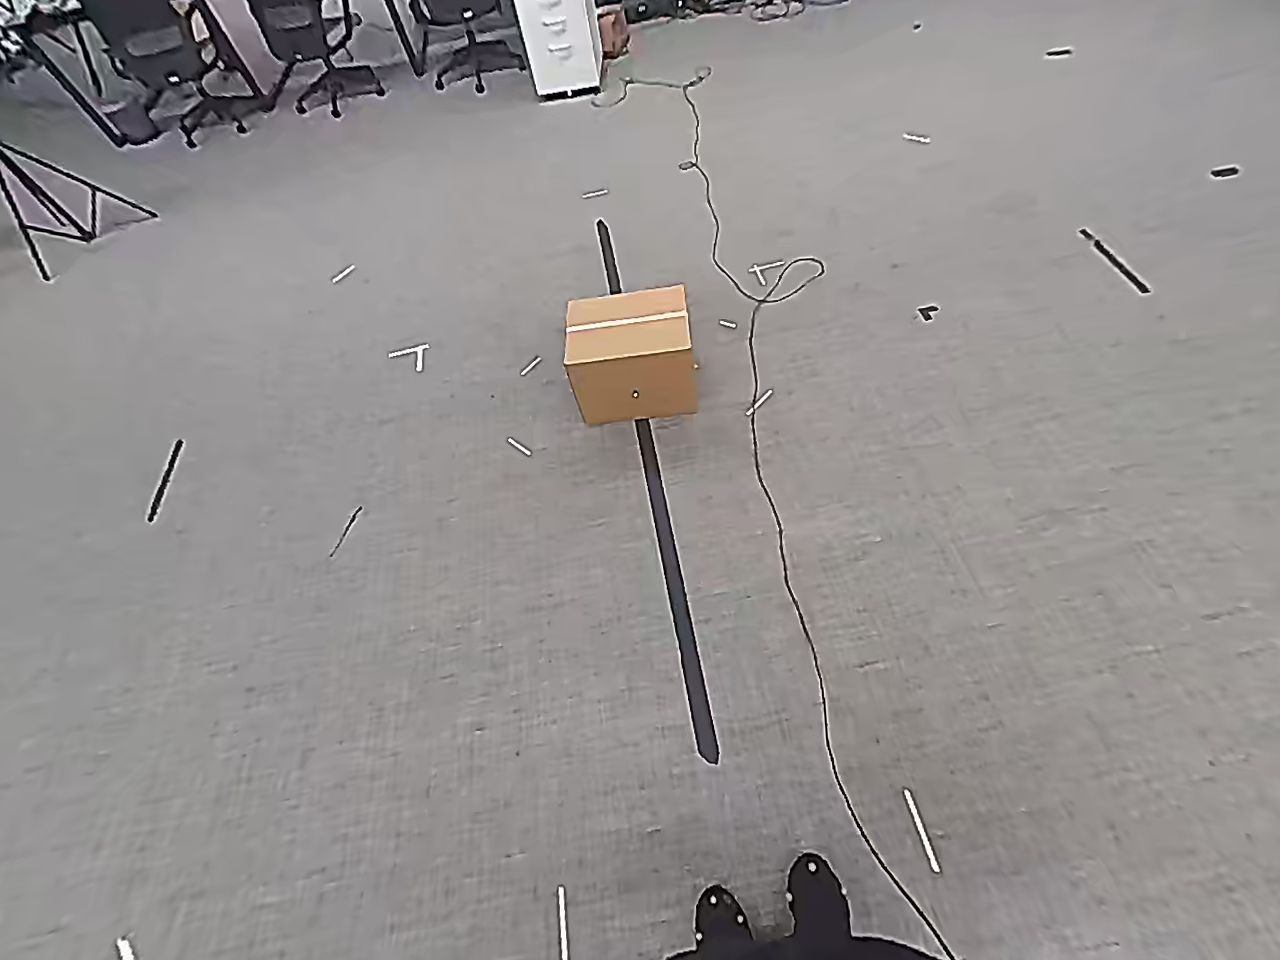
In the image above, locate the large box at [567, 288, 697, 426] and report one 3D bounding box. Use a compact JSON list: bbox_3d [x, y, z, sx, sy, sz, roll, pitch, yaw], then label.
[{"bbox_3d":[-0.023,-0.419,1.879,0.408,0.320,0.320,-6,57,5],"label":"large box"}]
